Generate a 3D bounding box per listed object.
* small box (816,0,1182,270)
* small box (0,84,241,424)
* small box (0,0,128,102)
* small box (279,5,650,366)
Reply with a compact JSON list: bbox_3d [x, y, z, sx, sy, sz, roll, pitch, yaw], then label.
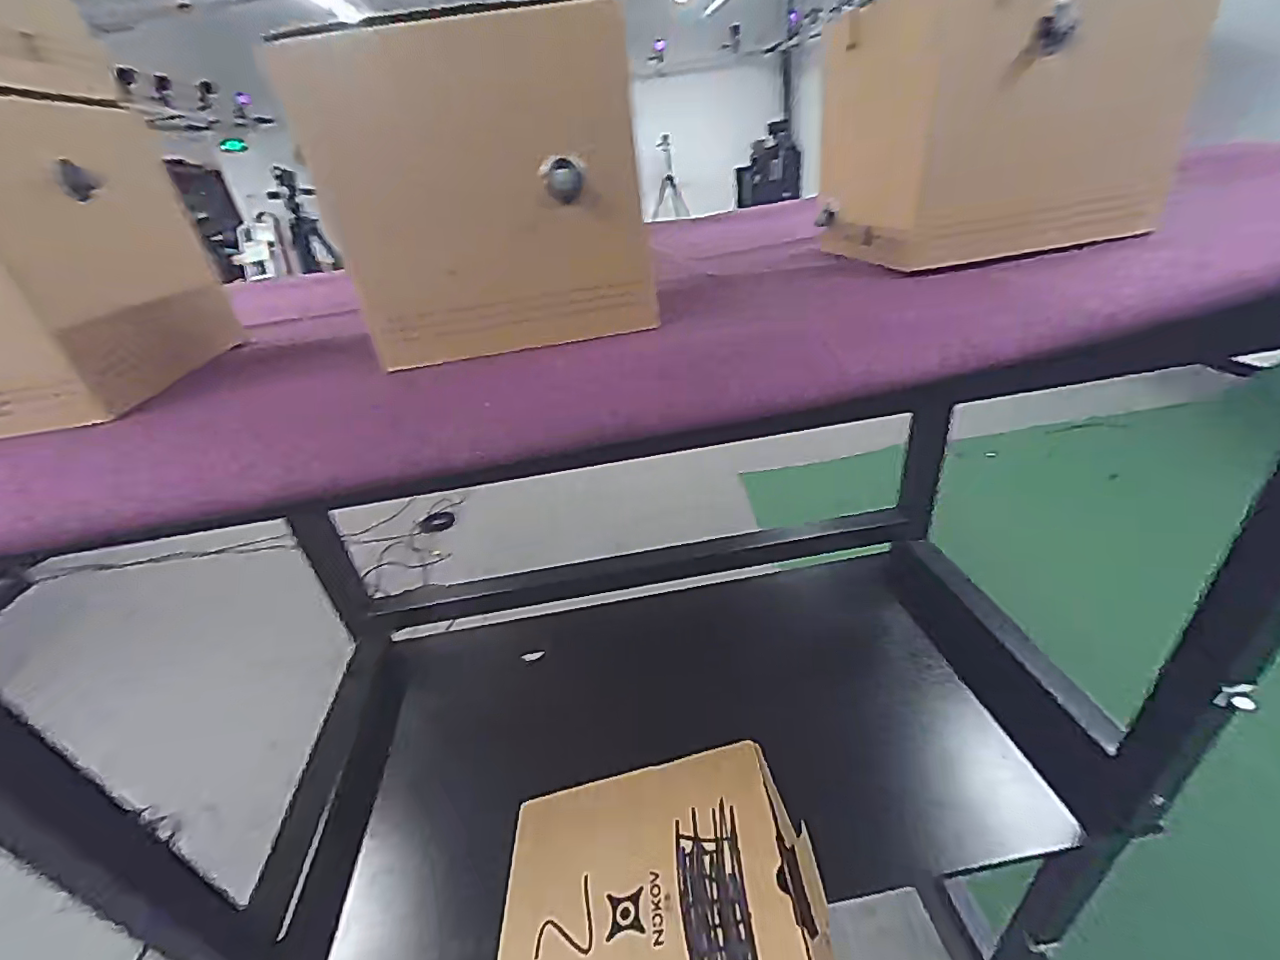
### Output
[{"bbox_3d":[0.248,-0.264,0.413,0.179,0.176,0.168,-9,29,-2],"label":"small box"},{"bbox_3d":[-0.408,-0.140,0.348,0.168,0.176,0.179,-9,31,-5],"label":"small box"},{"bbox_3d":[-0.430,-0.276,0.262,0.179,0.176,0.168,-10,32,-7],"label":"small box"},{"bbox_3d":[-0.092,-0.193,0.375,0.179,0.176,0.168,-11,30,-4],"label":"small box"}]
